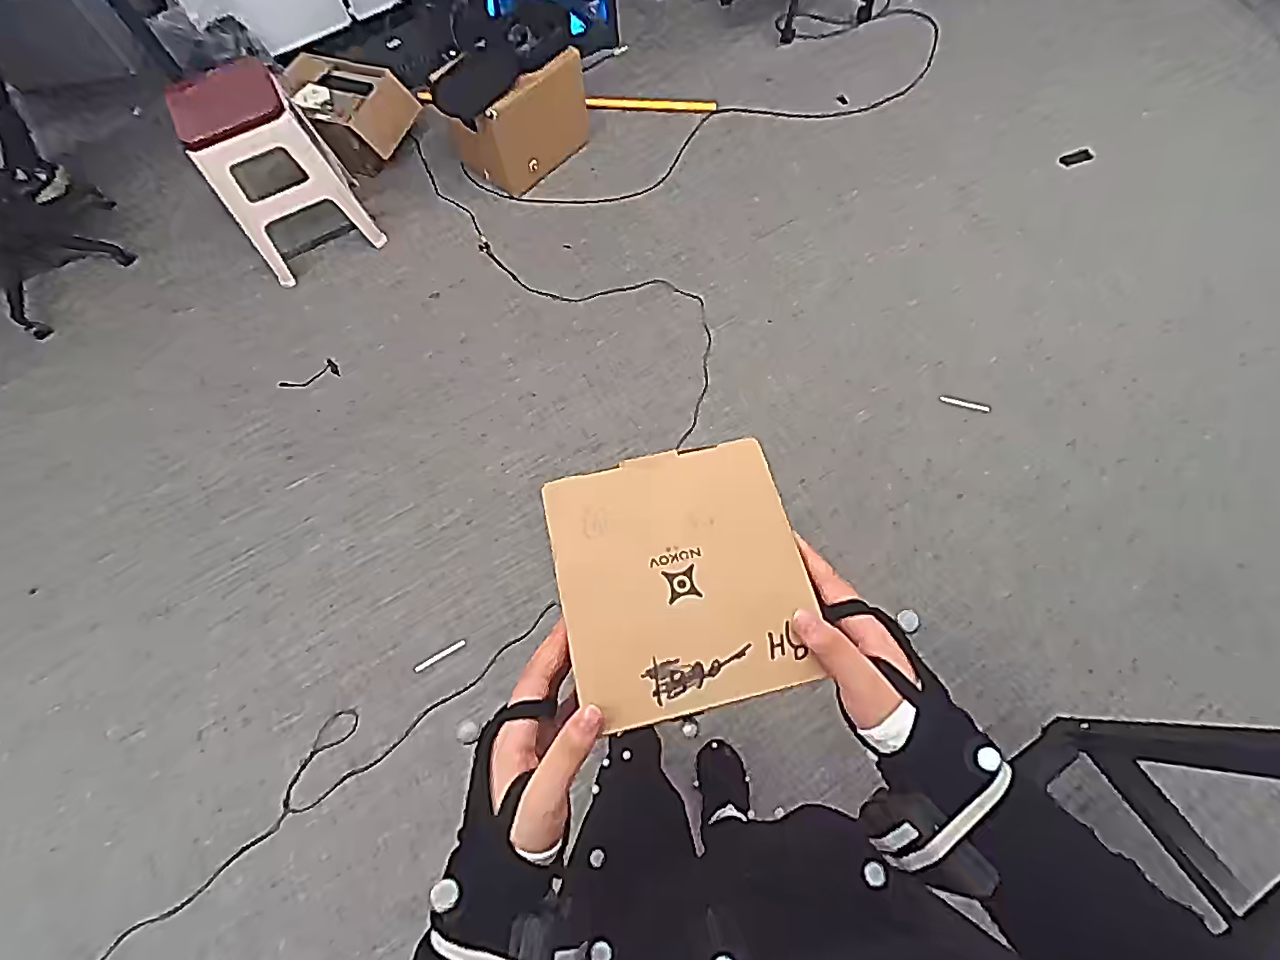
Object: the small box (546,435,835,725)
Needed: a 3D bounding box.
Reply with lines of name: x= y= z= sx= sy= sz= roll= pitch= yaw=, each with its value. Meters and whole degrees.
small box: x=0.028 y=0.091 z=0.441 sx=0.168 sy=0.176 sz=0.179 roll=-13 pitch=66 yaw=-4
